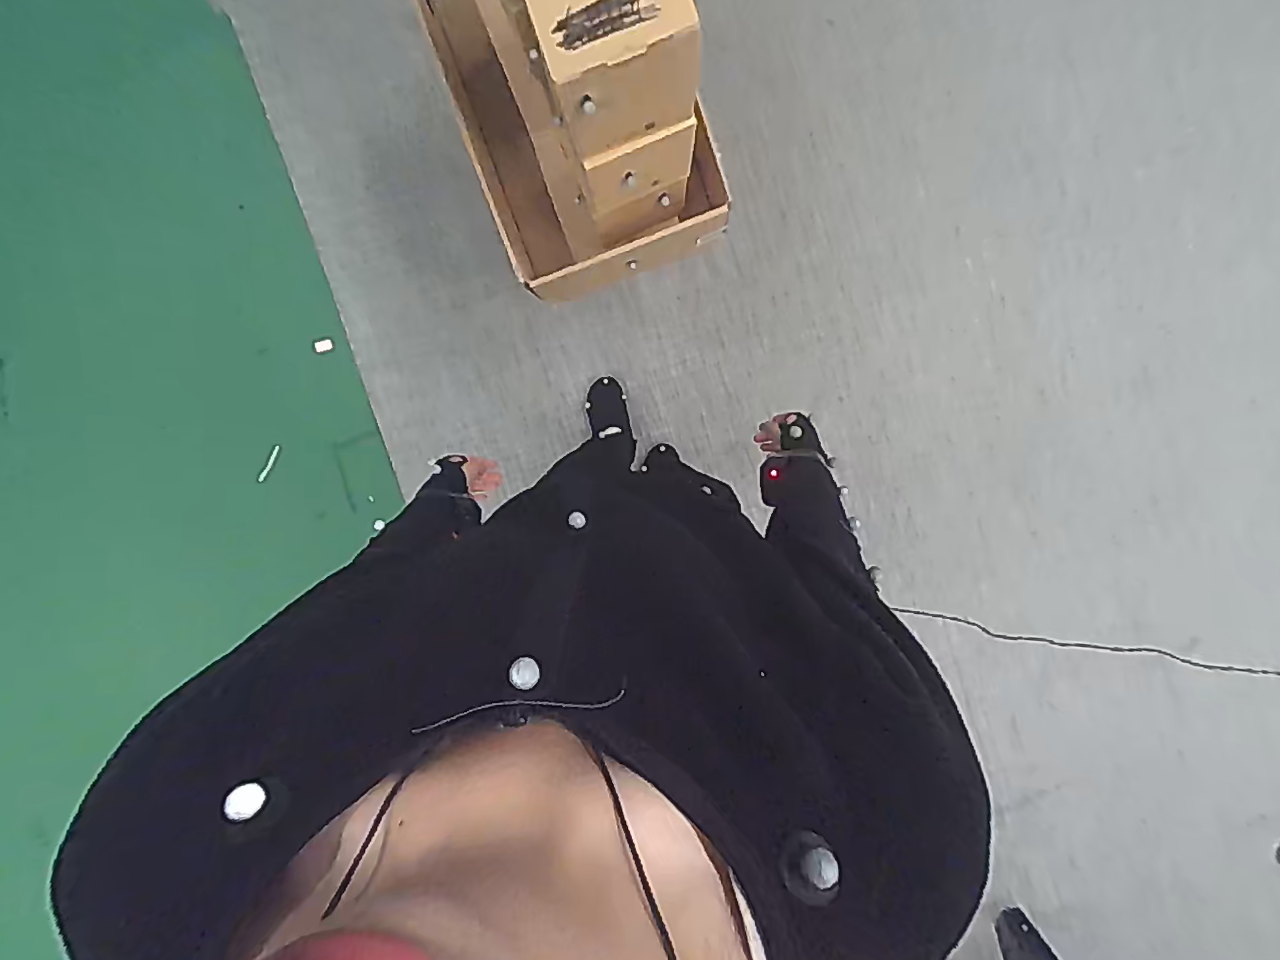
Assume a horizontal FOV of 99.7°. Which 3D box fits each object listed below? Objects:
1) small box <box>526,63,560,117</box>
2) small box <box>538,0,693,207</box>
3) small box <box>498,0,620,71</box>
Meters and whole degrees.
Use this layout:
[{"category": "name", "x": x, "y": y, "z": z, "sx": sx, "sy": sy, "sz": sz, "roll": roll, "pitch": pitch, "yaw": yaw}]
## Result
[{"category": "small box", "x": -0.128, "y": -0.780, "z": 0.949, "sx": 0.168, "sy": 0.176, "sz": 0.179, "roll": -24, "pitch": 98, "yaw": 4}, {"category": "small box", "x": -0.029, "y": -0.536, "z": 0.806, "sx": 0.168, "sy": 0.176, "sz": 0.179, "roll": -21, "pitch": 94, "yaw": 4}, {"category": "small box", "x": -0.135, "y": -0.748, "z": 0.788, "sx": 0.168, "sy": 0.176, "sz": 0.179, "roll": -25, "pitch": 97, "yaw": 4}]
